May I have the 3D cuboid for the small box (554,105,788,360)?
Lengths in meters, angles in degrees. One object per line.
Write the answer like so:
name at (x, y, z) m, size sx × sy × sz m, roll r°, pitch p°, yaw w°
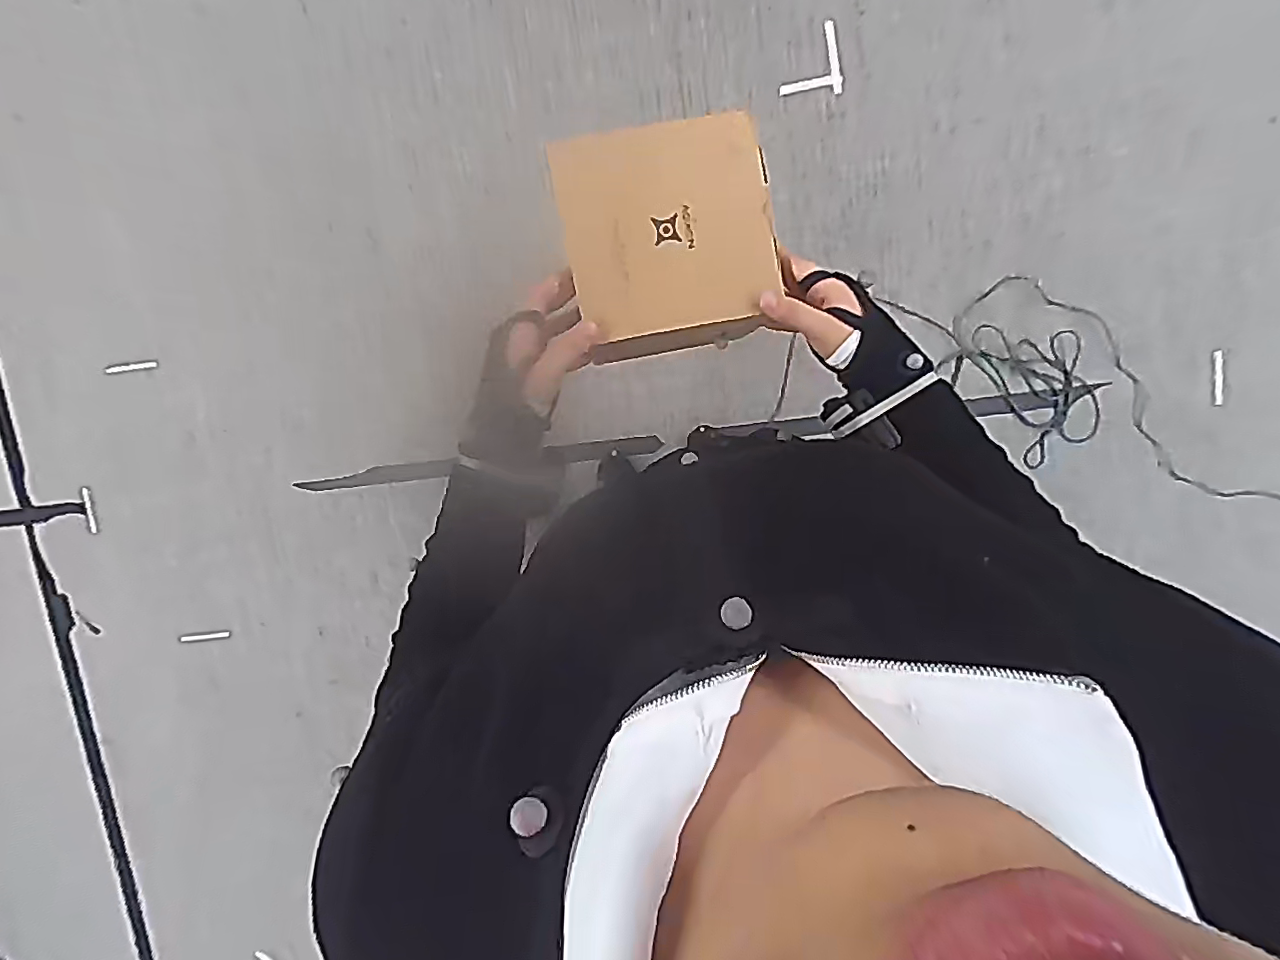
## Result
small box at (0.024, -0.223, 0.532) m, size 0.179 × 0.176 × 0.168 m, roll -12°, pitch 96°, yaw -1°
